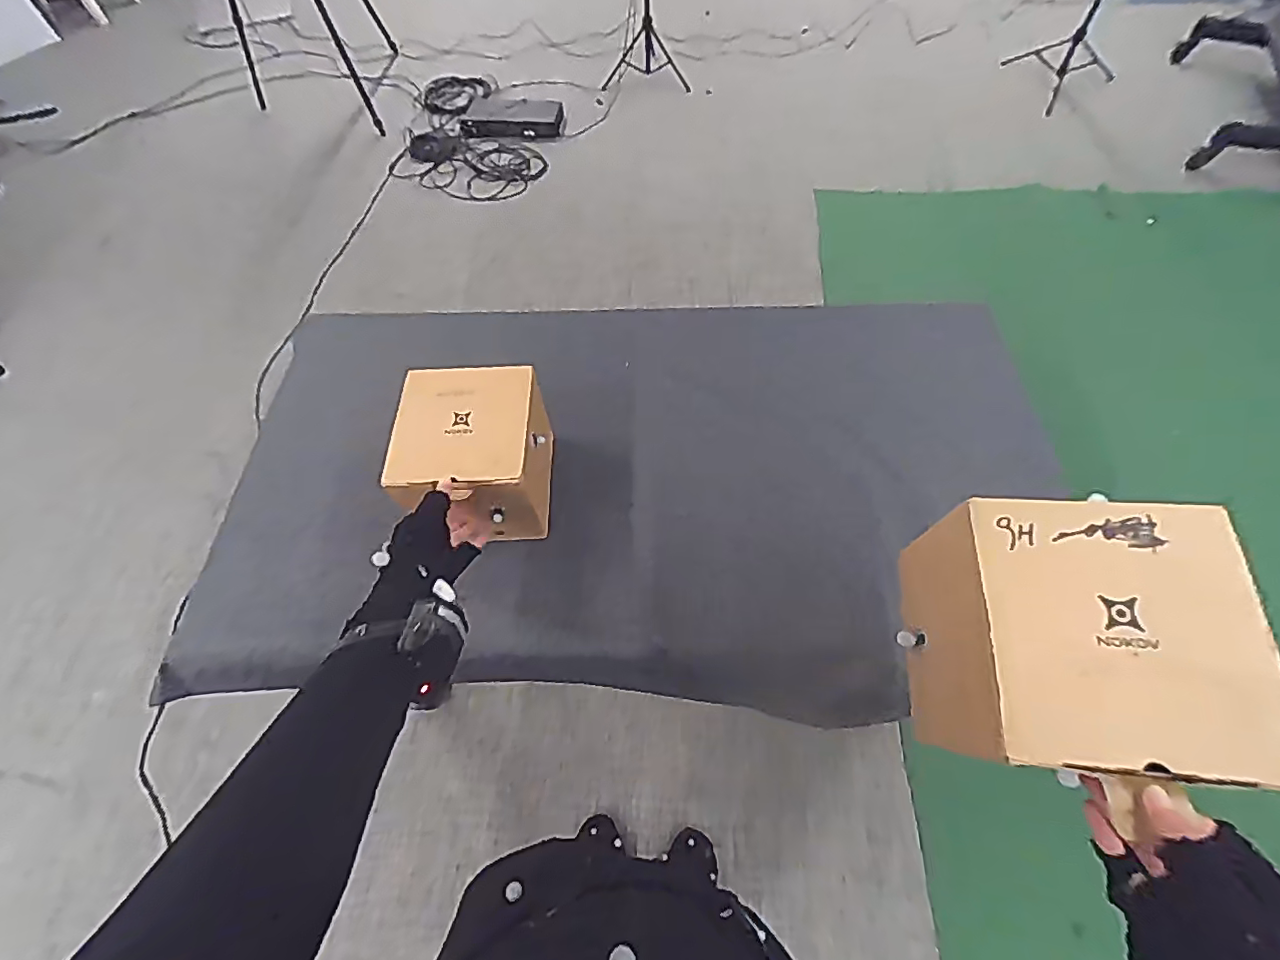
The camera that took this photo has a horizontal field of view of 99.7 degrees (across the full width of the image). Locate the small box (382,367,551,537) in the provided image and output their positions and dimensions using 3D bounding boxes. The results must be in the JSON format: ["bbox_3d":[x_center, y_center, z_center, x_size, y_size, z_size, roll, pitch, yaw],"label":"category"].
[{"bbox_3d":[-0.216,-0.029,0.728,0.168,0.176,0.179,-2,59,-1],"label":"small box"}]
